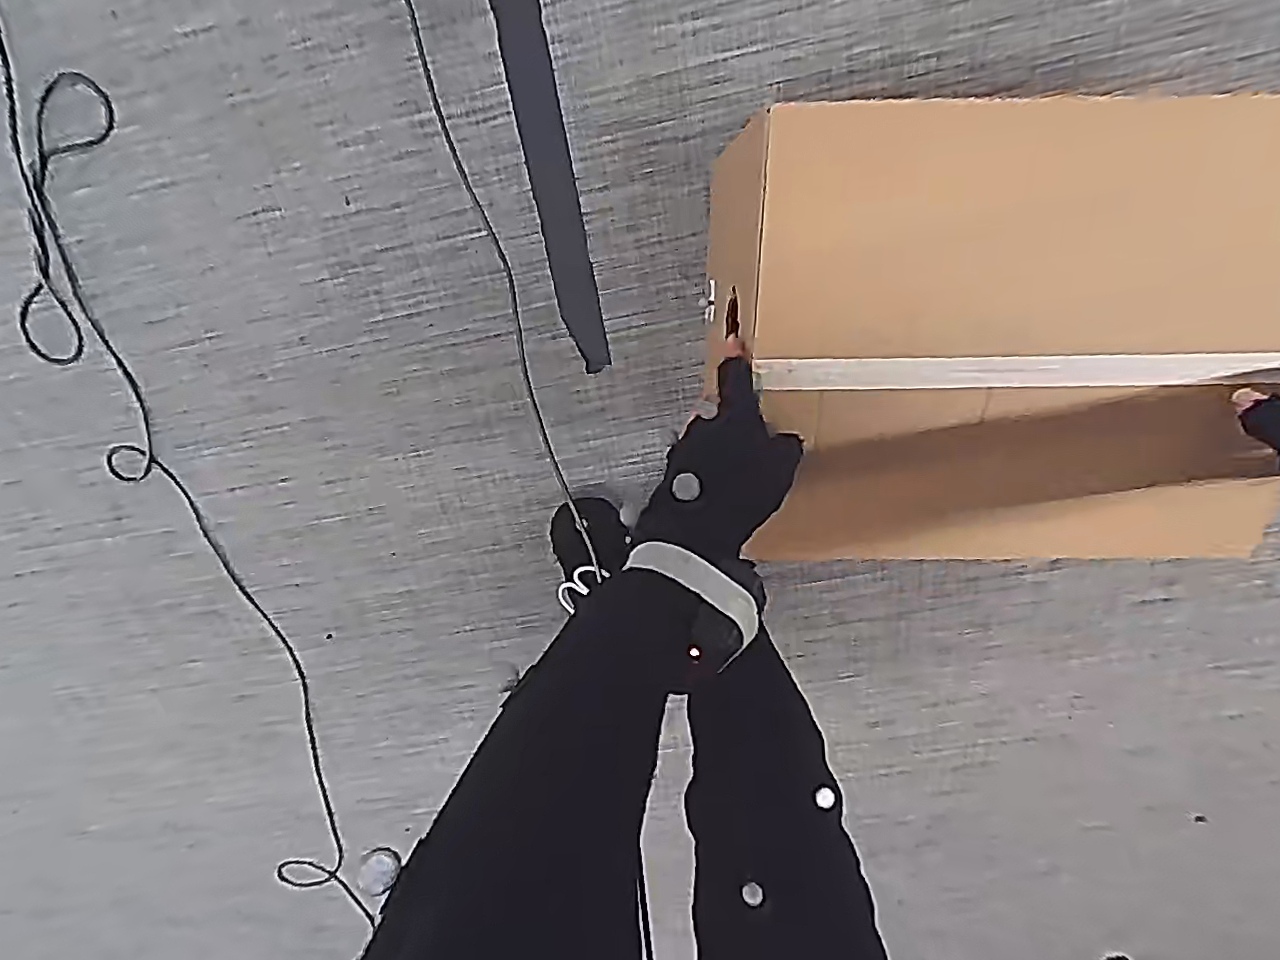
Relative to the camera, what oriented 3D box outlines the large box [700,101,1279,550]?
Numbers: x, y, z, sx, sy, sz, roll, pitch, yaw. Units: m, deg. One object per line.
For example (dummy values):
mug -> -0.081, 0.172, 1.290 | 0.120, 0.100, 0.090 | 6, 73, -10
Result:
large box -> 0.274, -0.145, 0.523 | 0.408, 0.320, 0.320 | 0, 114, 1
